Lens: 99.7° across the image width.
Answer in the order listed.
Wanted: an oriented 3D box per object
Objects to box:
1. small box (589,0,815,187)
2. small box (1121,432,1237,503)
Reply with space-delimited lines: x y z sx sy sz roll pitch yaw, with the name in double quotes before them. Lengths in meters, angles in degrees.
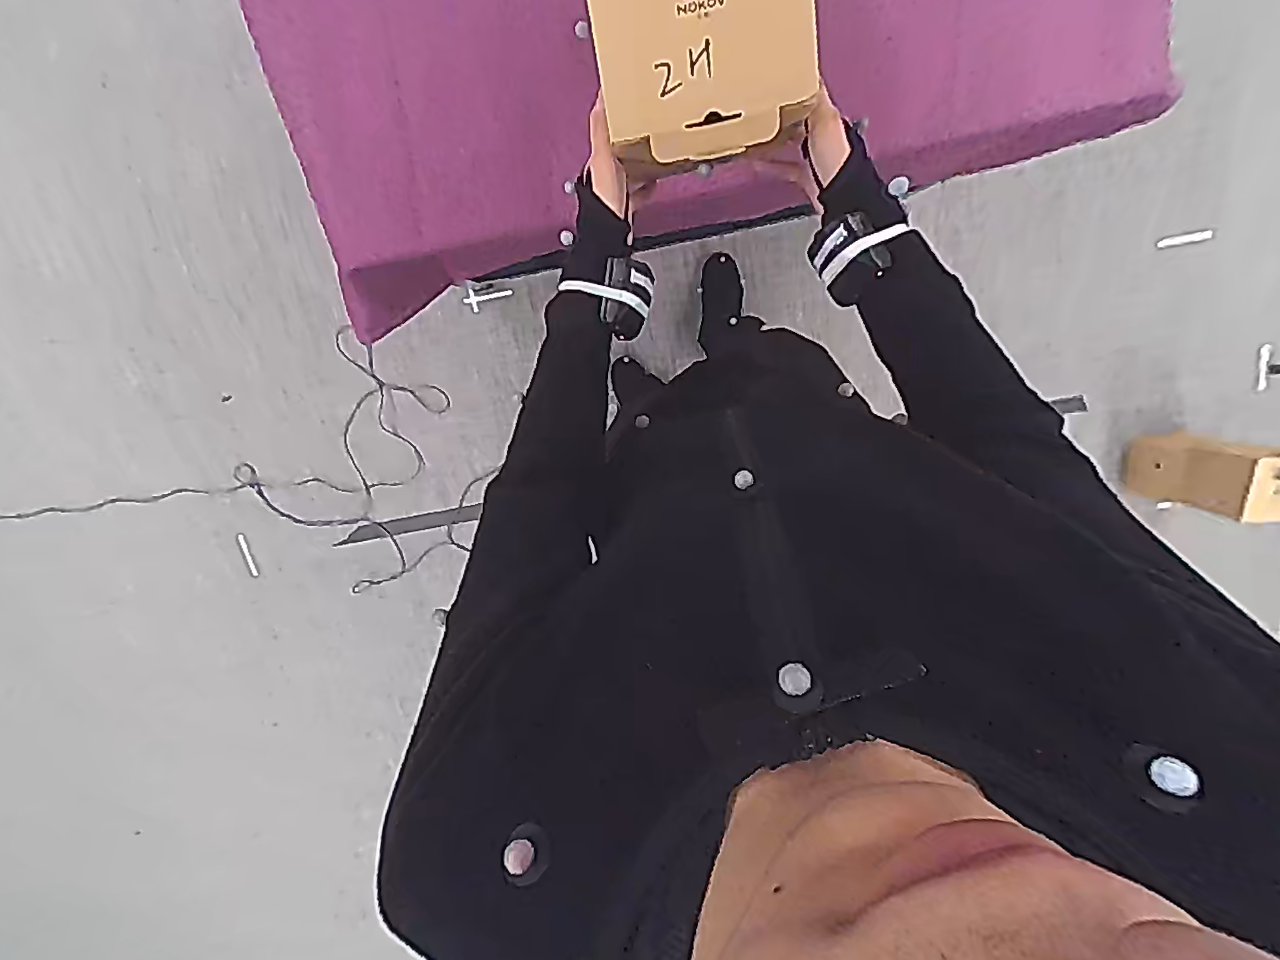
"small box" 0.047 -0.382 0.476 0.168 0.176 0.179 -8 108 6
"small box" 1.597 -0.041 1.614 0.179 0.176 0.168 -8 105 -1
